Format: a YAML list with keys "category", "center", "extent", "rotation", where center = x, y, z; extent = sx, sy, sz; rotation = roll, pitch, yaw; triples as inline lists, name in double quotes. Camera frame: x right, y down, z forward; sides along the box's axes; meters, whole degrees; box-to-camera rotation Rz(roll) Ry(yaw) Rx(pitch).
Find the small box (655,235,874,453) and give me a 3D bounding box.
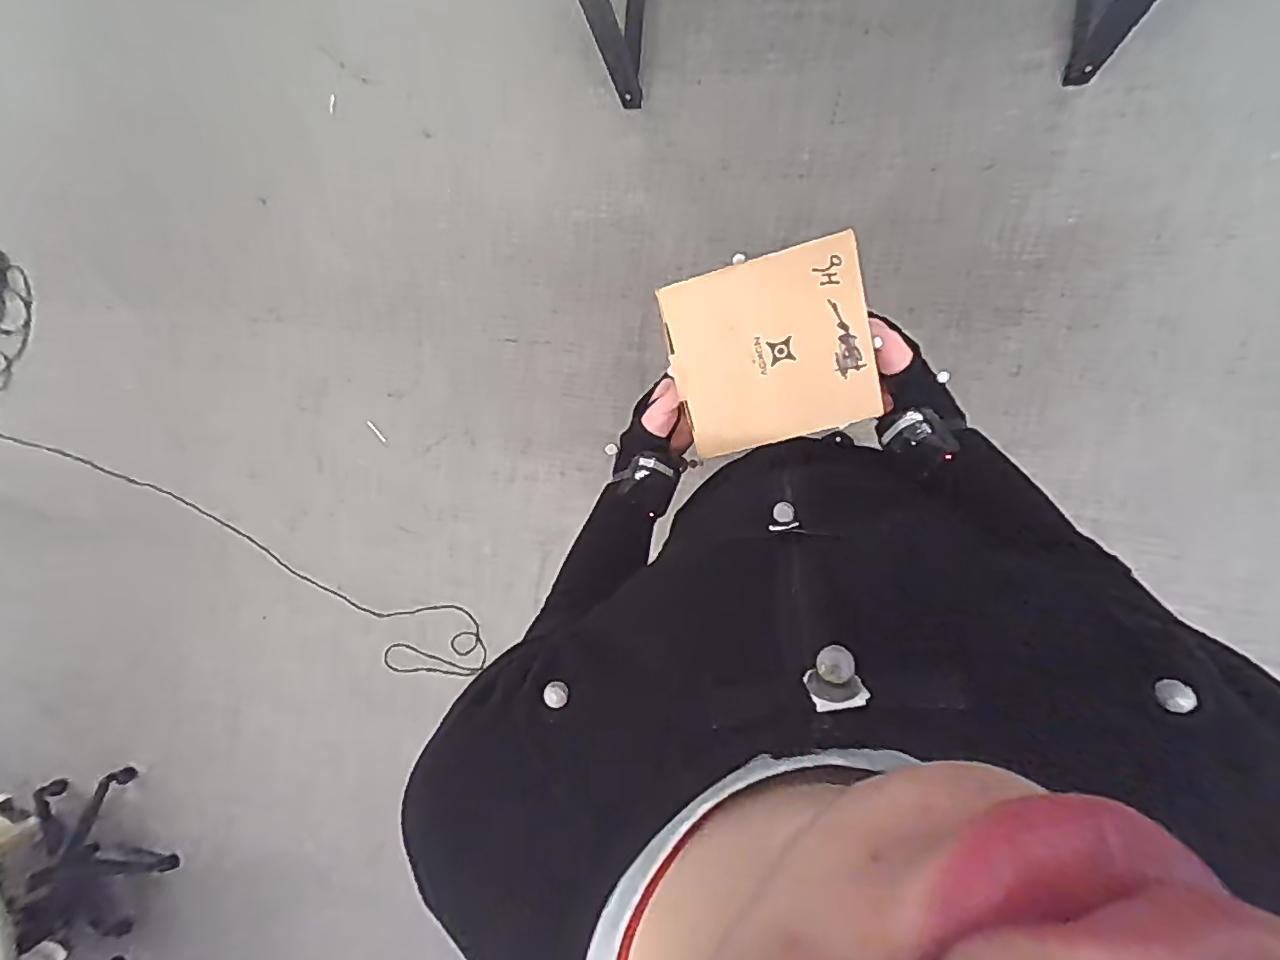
- category: "small box"
  center: [0.126, -0.140, 0.573]
  extent: [0.179, 0.176, 0.168]
  rotation: [-12, 106, 11]
